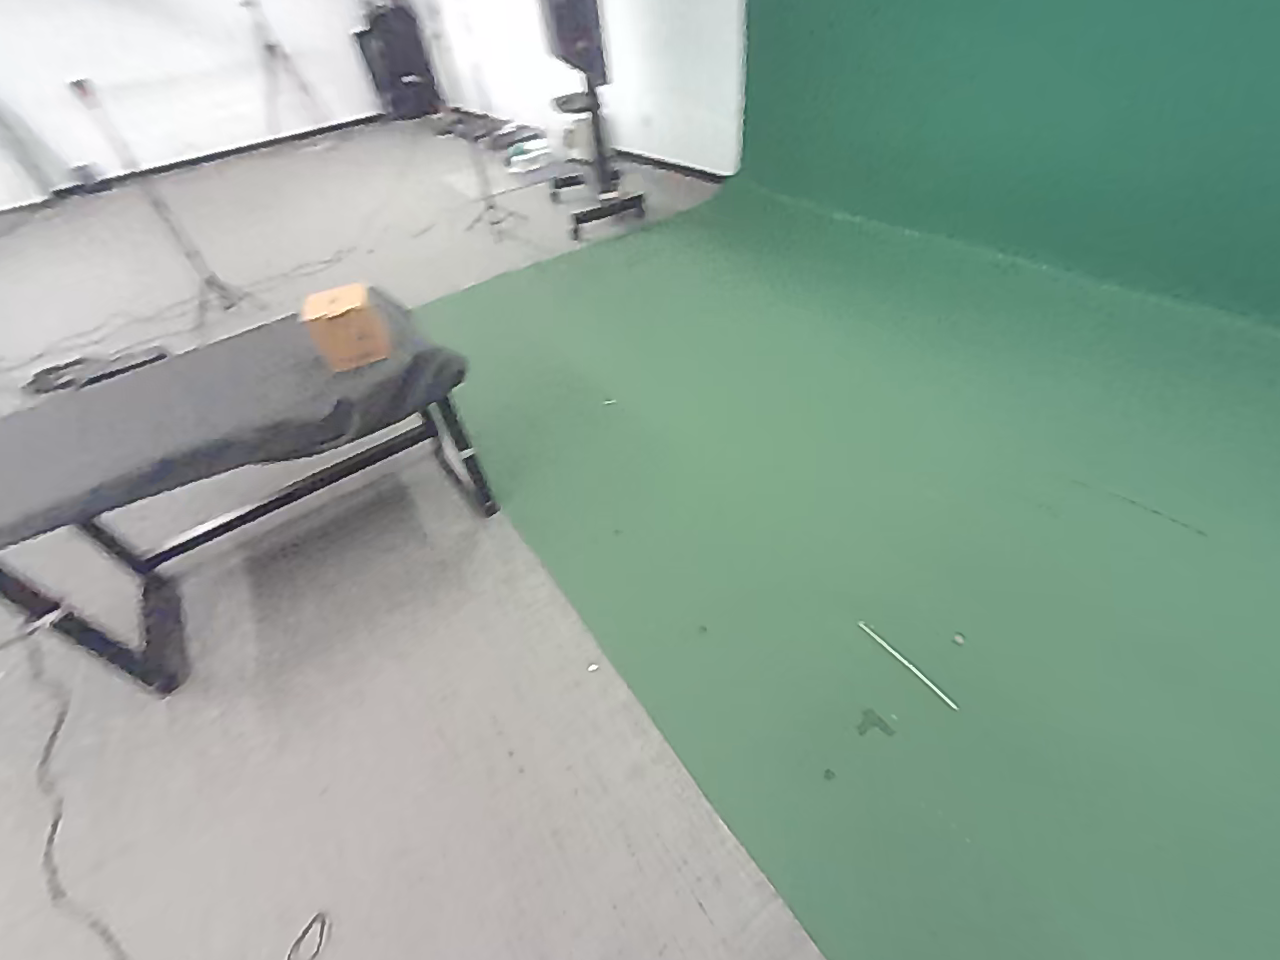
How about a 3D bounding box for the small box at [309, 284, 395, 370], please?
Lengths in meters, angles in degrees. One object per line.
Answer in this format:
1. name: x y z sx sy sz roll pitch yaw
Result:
1. small box: -0.824 -0.435 1.560 0.168 0.176 0.179 -19 43 -12
